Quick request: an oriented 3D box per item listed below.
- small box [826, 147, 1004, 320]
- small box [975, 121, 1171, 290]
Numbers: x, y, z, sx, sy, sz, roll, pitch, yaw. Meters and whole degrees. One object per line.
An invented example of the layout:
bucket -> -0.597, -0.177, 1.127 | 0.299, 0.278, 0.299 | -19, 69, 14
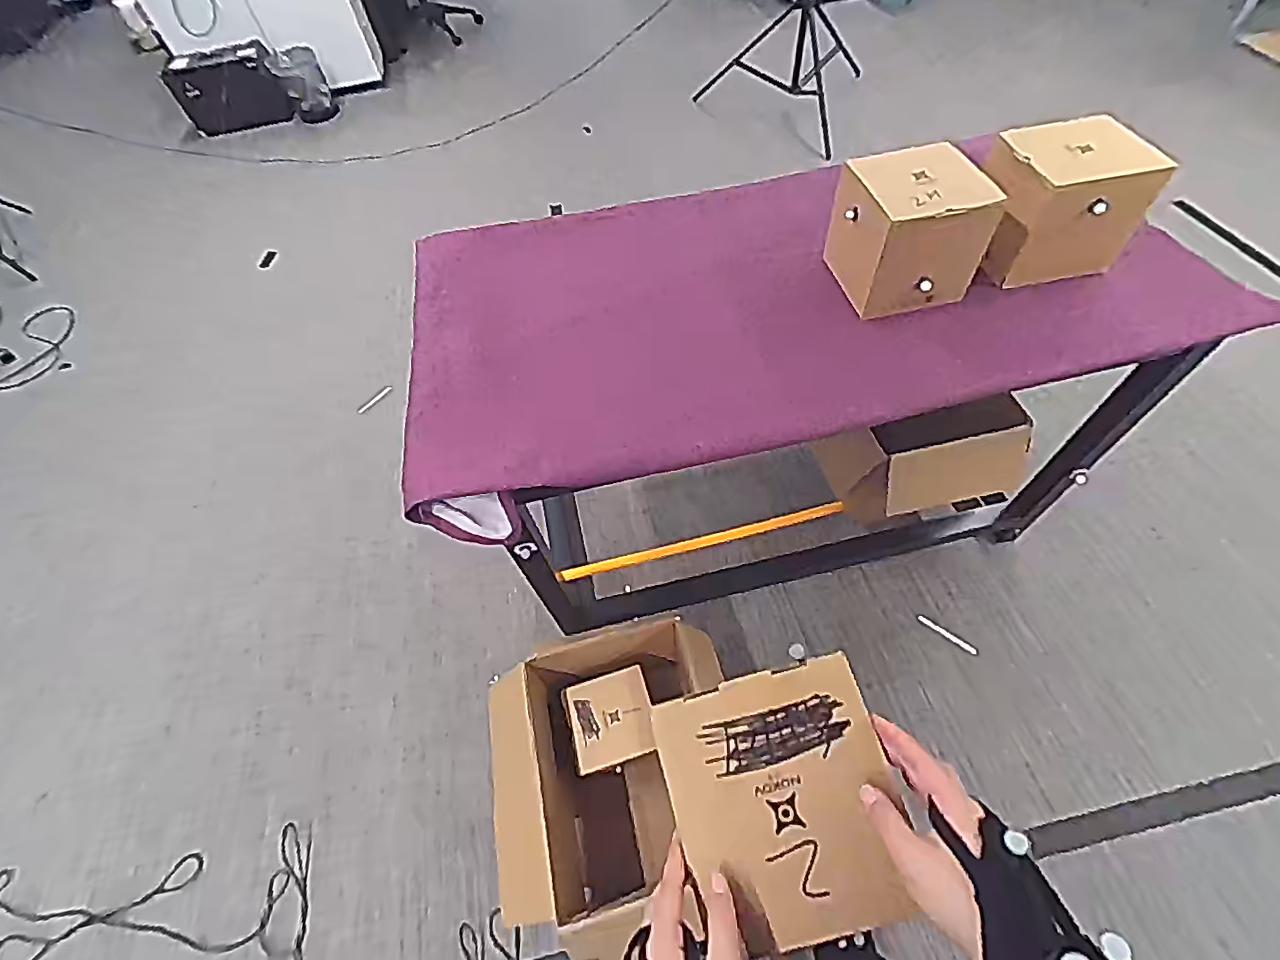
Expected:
small box -> 0.408, -0.380, 0.843 | 0.168, 0.176, 0.179 | -11, 56, -1
small box -> 0.644, -0.427, 0.852 | 0.179, 0.176, 0.168 | -9, 55, 0
